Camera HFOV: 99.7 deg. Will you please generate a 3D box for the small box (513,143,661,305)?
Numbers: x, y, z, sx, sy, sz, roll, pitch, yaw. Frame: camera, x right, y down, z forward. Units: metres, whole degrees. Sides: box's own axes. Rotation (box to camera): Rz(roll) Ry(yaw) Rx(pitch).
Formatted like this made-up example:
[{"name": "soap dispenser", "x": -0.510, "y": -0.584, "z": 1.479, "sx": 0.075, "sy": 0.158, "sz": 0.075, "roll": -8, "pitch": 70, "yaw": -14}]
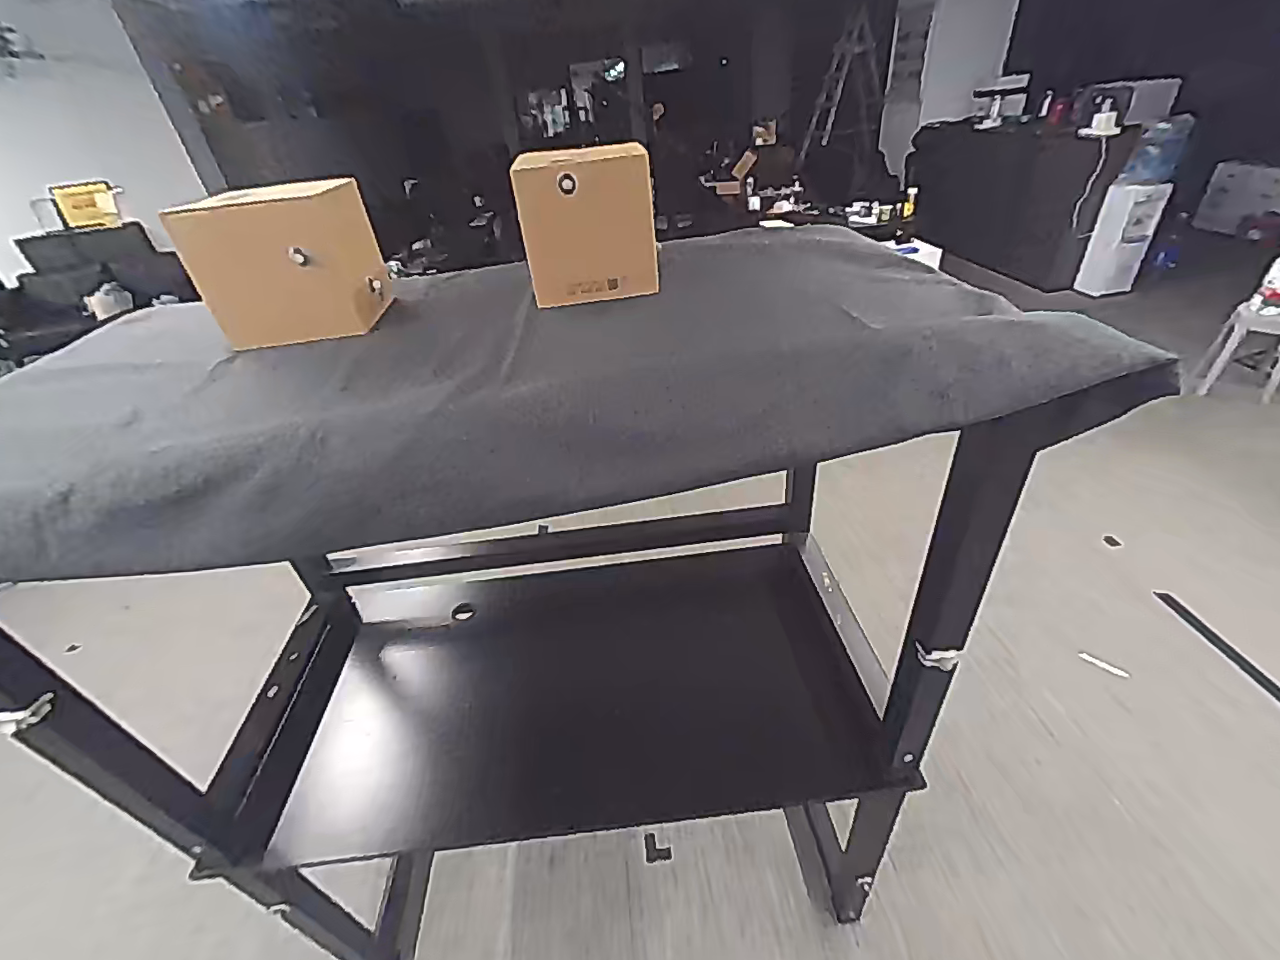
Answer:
[{"name": "small box", "x": -0.066, "y": -0.350, "z": 0.737, "sx": 0.168, "sy": 0.176, "sz": 0.179, "roll": -8, "pitch": 35, "yaw": -1}]
